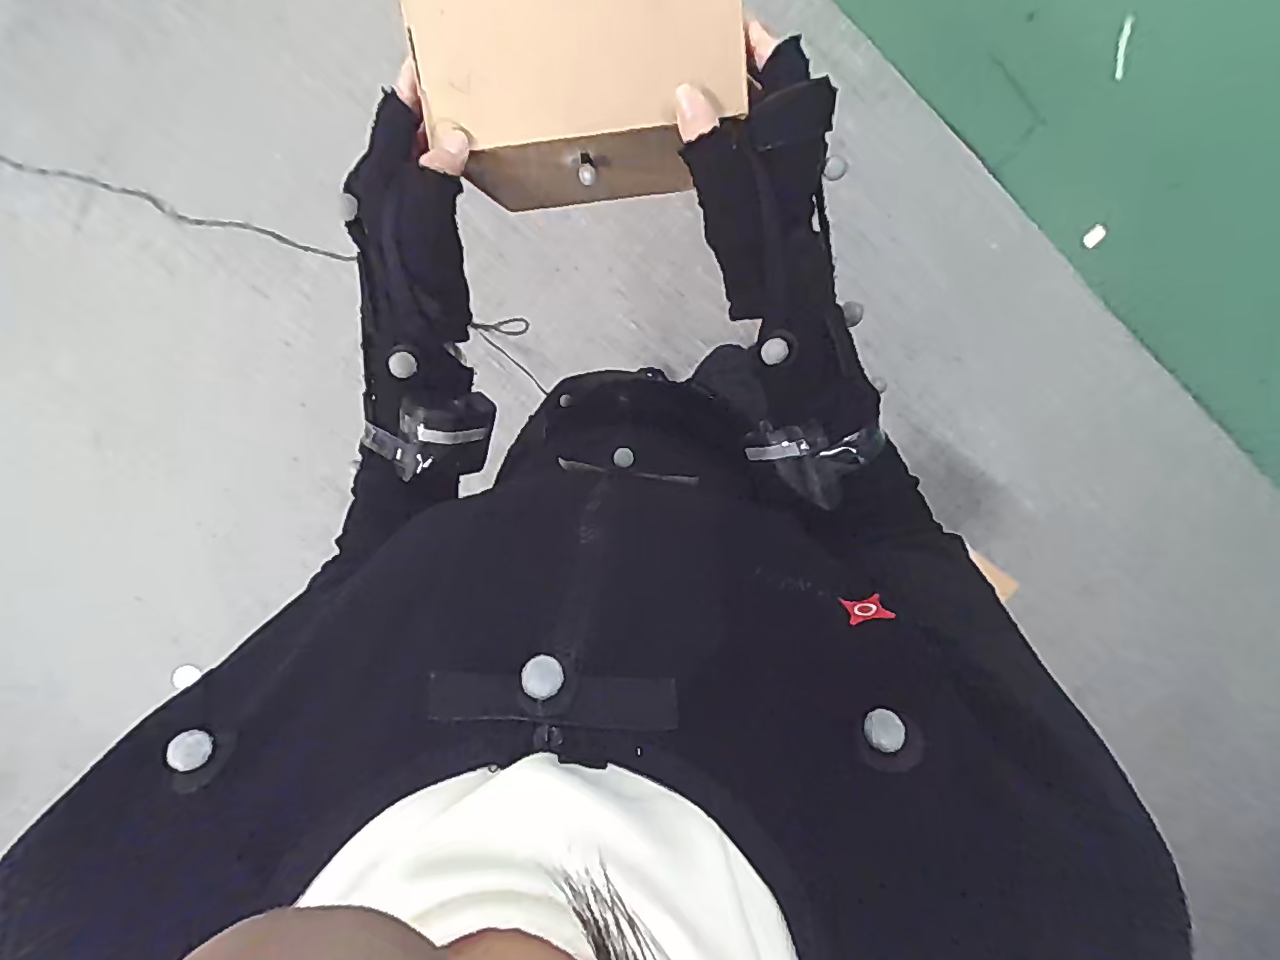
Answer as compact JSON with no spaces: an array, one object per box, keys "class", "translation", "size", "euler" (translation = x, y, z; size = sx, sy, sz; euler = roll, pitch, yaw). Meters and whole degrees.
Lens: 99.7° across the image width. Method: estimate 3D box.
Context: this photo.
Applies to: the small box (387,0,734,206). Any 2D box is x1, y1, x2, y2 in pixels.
[{"class":"small box","translation":[-0.042,-0.286,0.342],"size":[0.179,0.176,0.168],"euler":[-6,107,3]}]
